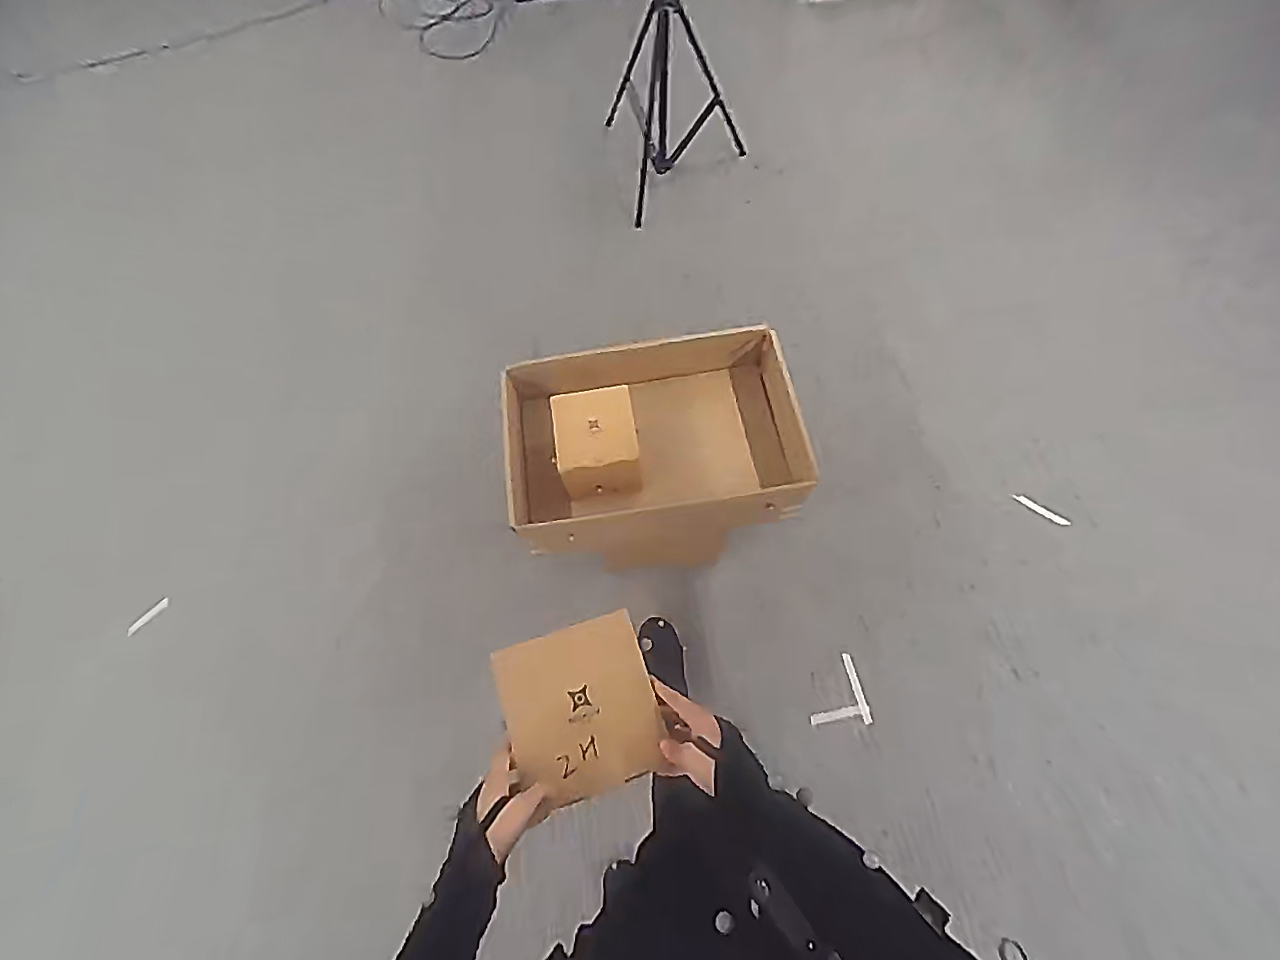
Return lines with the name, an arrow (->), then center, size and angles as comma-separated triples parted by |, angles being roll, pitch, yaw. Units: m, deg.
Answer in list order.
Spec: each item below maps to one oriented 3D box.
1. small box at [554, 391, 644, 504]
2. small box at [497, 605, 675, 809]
small box -> -0.086, -0.066, 1.168 | 0.168, 0.176, 0.179 | -9, 67, -2
small box -> -0.069, 0.278, 0.681 | 0.168, 0.176, 0.179 | -17, 70, -9
